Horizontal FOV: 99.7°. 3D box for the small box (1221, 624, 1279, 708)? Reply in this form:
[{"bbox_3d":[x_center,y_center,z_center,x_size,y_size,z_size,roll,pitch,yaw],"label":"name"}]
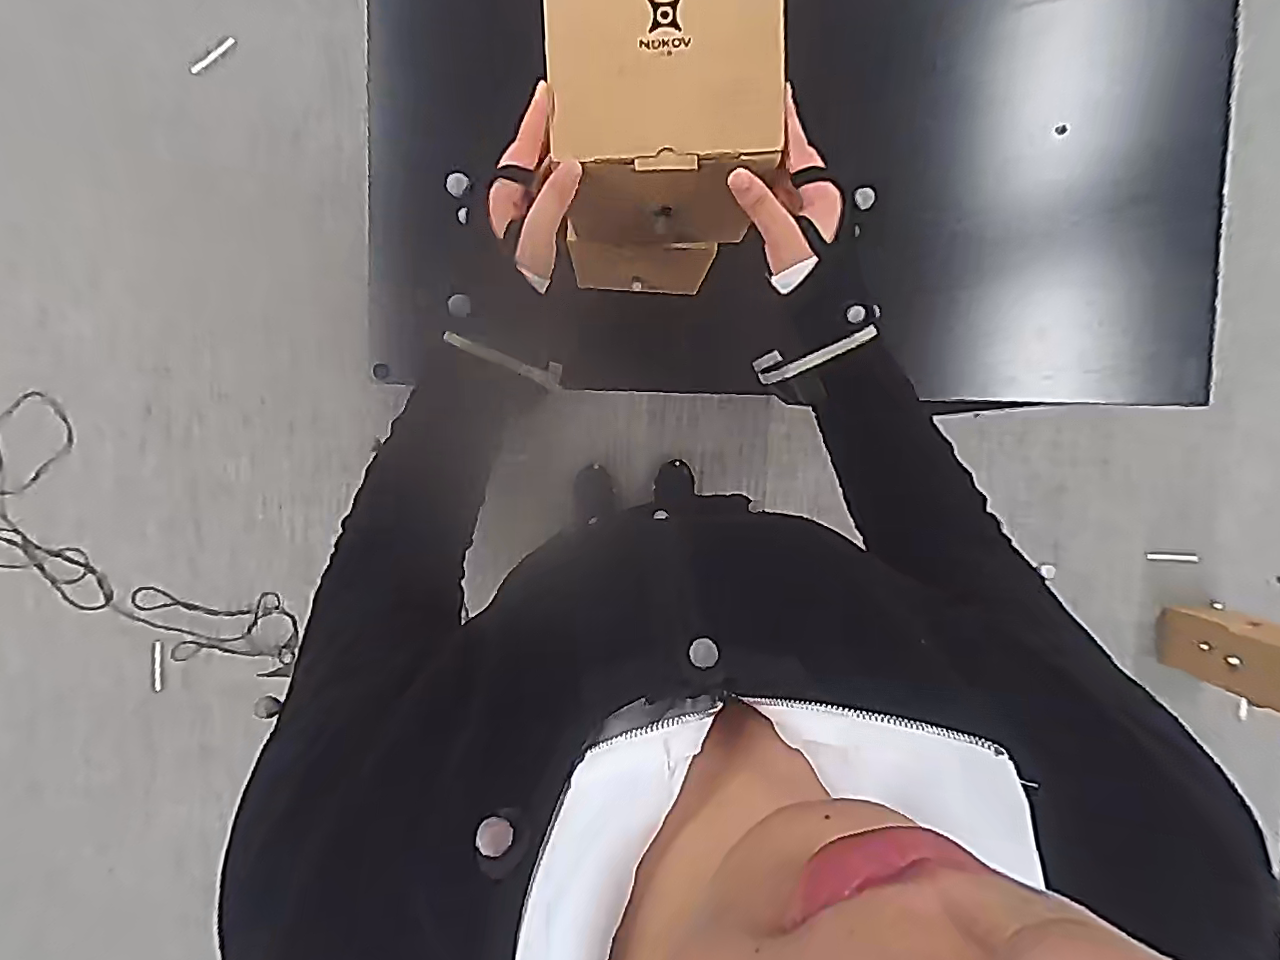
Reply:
[{"bbox_3d":[1.621,0.463,1.342,0.179,0.176,0.168,-2,92,-1],"label":"small box"}]

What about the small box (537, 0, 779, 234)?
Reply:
[{"bbox_3d":[0.015,-0.315,0.445,0.168,0.176,0.179,-2,96,2],"label":"small box"}]

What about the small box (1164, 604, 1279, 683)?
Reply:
[{"bbox_3d":[1.618,0.449,1.504,0.168,0.176,0.179,0,94,-2],"label":"small box"}]

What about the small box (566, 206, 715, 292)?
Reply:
[{"bbox_3d":[0.002,-0.349,0.666,0.168,0.176,0.179,3,93,-2],"label":"small box"}]
